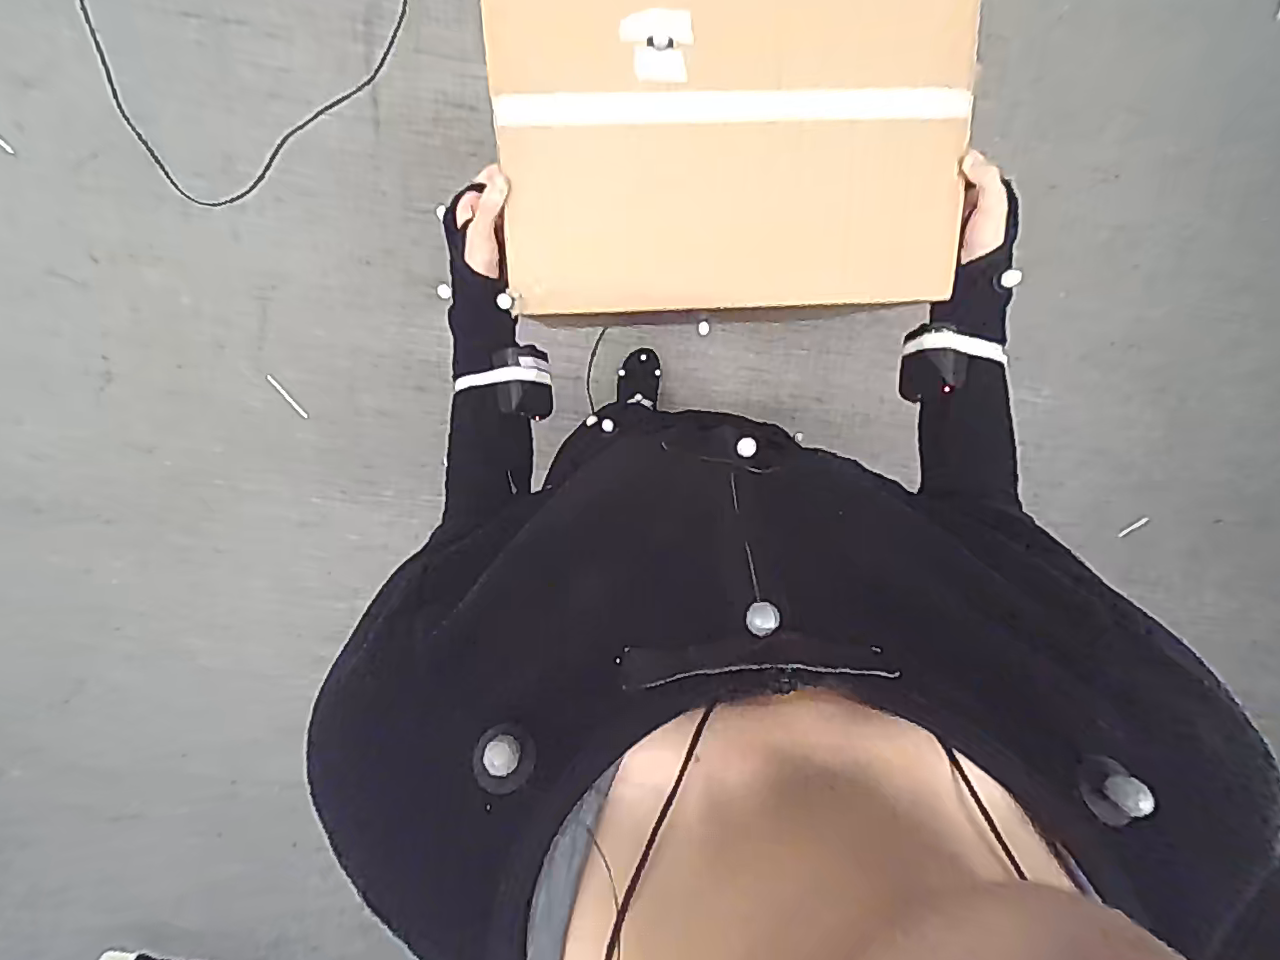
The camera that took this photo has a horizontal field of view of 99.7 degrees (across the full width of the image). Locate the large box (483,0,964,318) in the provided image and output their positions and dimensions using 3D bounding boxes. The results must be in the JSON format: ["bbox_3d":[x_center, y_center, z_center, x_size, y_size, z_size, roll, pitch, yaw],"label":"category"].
[{"bbox_3d":[0.069,-0.352,0.606,0.408,0.320,0.320,-3,104,-3],"label":"large box"}]
